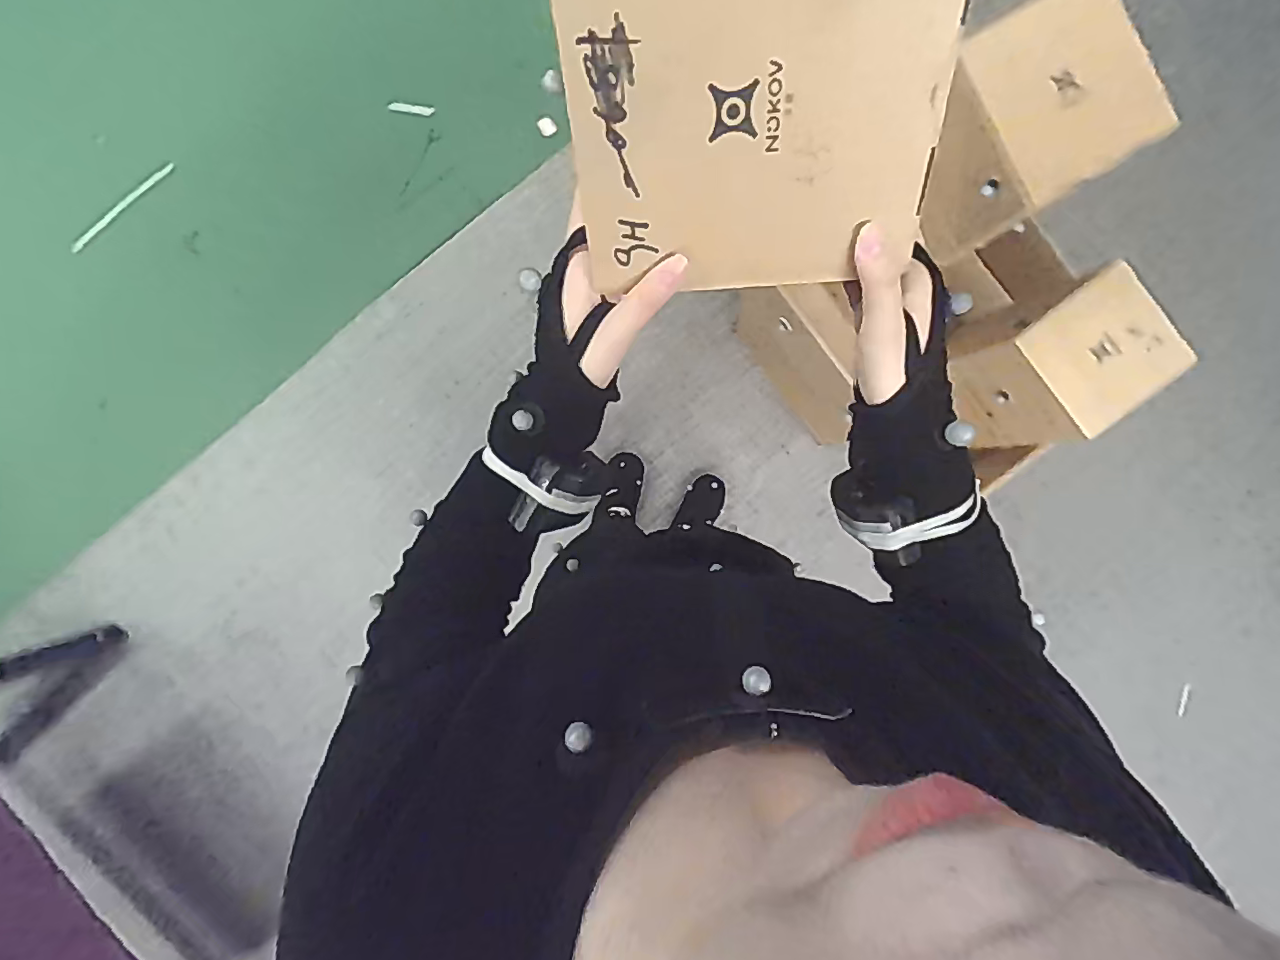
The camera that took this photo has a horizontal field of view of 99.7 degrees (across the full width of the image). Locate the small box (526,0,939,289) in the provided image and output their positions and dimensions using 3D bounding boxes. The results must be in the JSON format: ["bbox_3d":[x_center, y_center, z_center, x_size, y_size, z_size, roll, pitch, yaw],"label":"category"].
[{"bbox_3d":[0.045,-0.226,0.312,0.179,0.176,0.168,-2,130,7],"label":"small box"}]

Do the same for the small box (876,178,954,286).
[{"bbox_3d":[0.418,-0.405,0.764,0.179,0.176,0.168,-32,93,1],"label":"small box"}]

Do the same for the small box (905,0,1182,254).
[{"bbox_3d":[0.416,-0.390,0.602,0.168,0.176,0.179,-29,94,1],"label":"small box"}]

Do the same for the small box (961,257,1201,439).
[{"bbox_3d":[0.598,-0.171,0.767,0.179,0.176,0.168,-37,91,2],"label":"small box"}]
